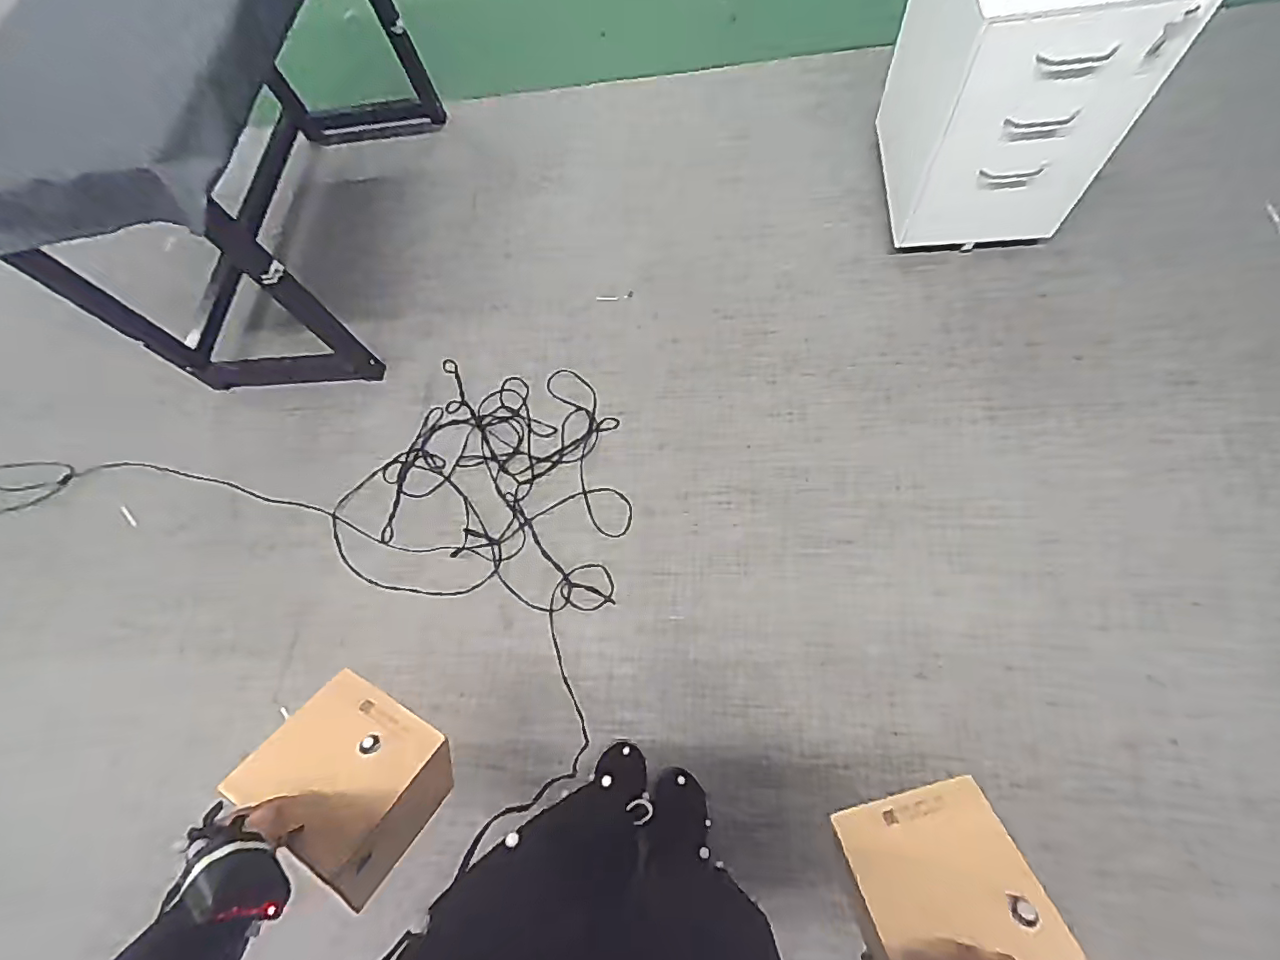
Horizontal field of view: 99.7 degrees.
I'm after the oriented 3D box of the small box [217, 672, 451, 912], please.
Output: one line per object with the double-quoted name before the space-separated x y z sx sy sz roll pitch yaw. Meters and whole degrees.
"small box" -0.351 0.374 0.661 0.168 0.179 0.176 25 43 12
